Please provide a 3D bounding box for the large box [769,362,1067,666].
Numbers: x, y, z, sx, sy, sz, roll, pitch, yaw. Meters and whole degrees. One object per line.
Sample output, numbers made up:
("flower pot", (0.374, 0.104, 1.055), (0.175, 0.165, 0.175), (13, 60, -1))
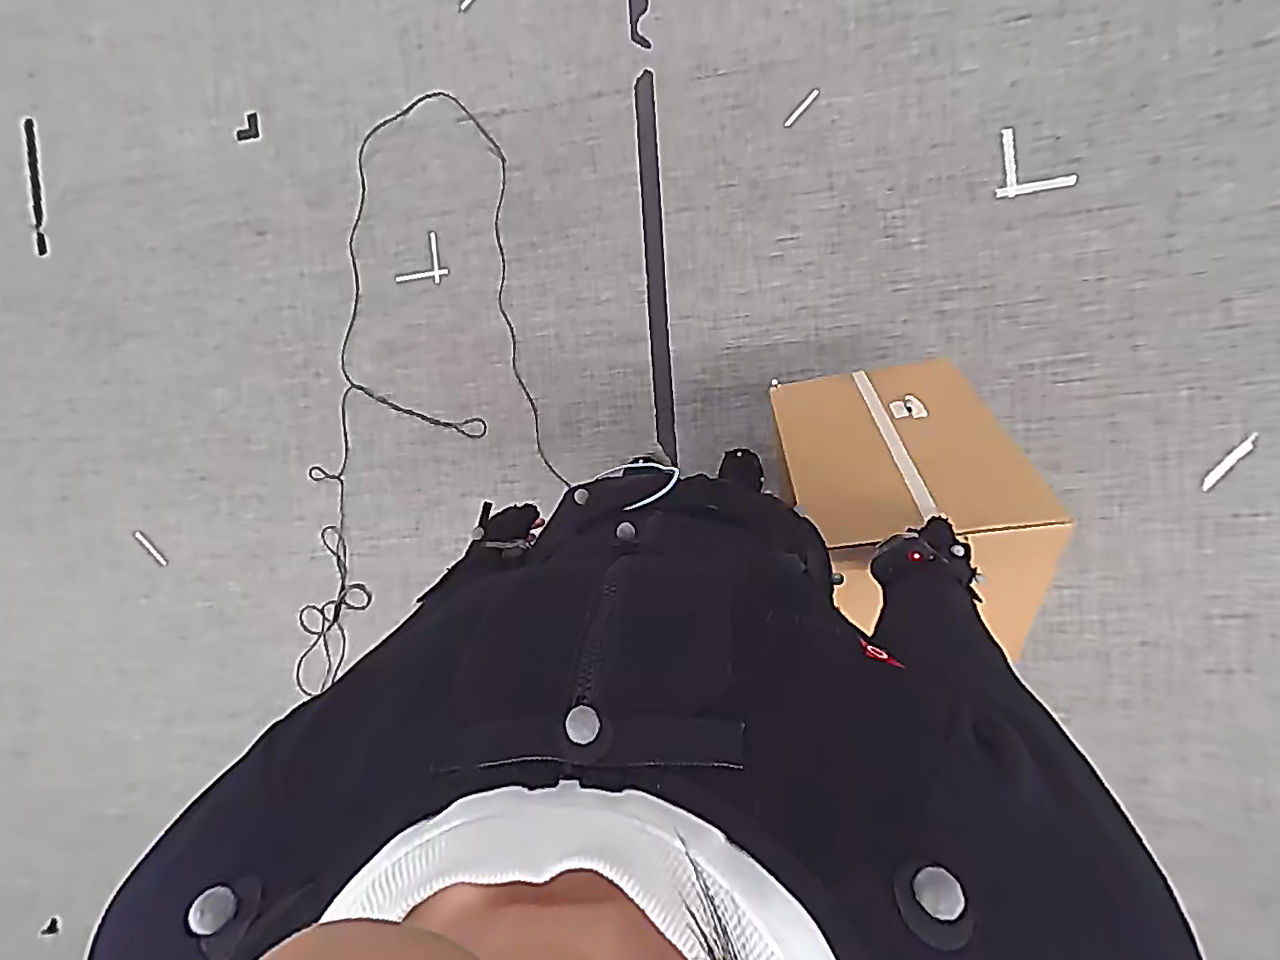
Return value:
("large box", (0.419, 0.051, 0.930), (0.320, 0.408, 0.320), (-8, 129, 9))
